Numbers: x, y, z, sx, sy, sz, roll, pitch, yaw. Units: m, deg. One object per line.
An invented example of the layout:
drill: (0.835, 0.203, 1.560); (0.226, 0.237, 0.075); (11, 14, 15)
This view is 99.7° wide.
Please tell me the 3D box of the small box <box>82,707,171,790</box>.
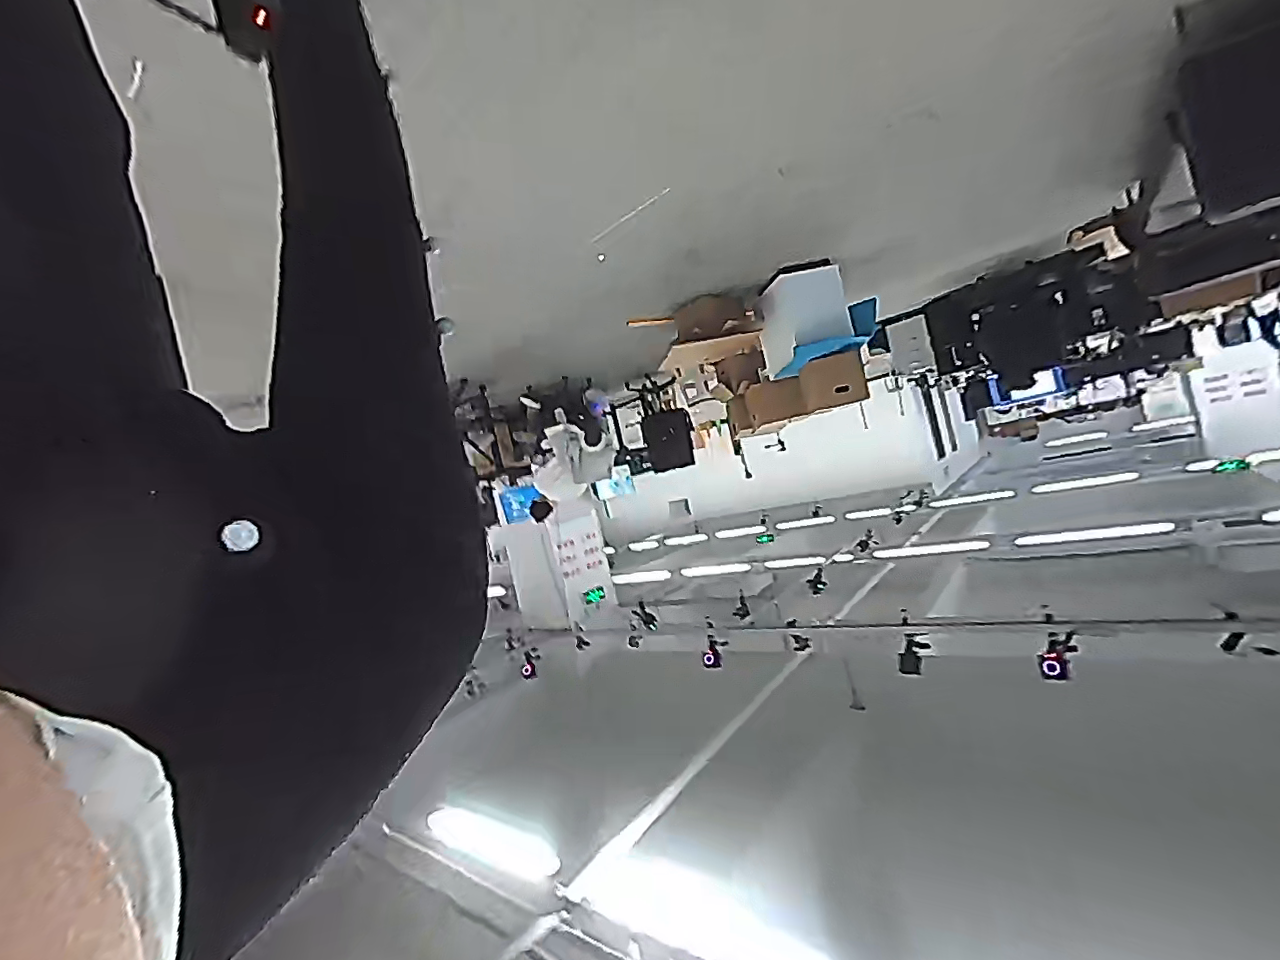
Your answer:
small box: (-1.621, 0.830, 1.705); (0.168, 0.176, 0.179); (-12, 180, 44)
